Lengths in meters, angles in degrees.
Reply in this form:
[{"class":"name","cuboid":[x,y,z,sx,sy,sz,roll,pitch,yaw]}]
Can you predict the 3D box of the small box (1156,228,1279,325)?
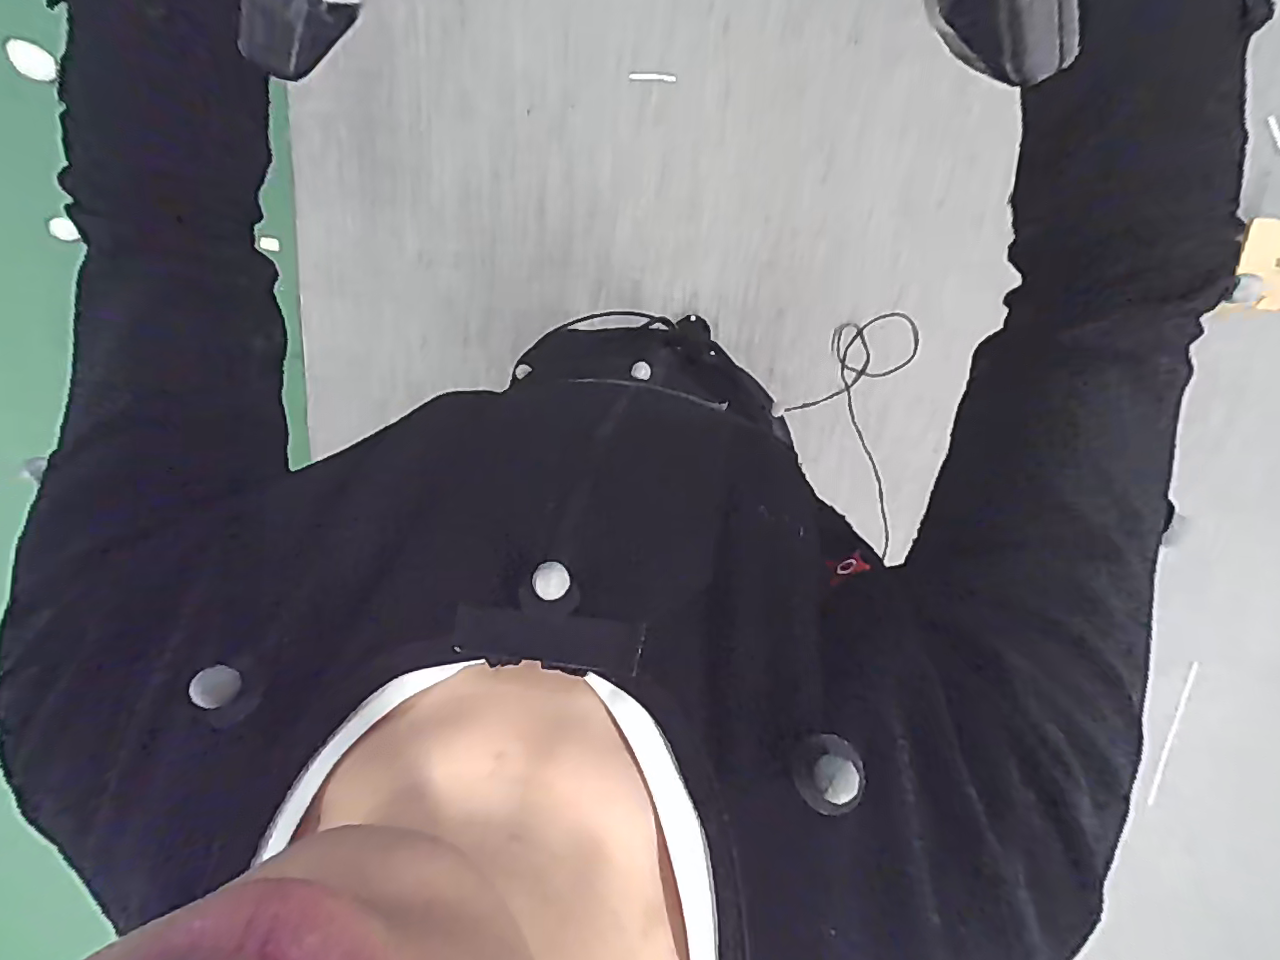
[{"class":"small box","cuboid":[1.335,-0.452,1.222,0.168,0.176,0.179,5,103,2]}]
